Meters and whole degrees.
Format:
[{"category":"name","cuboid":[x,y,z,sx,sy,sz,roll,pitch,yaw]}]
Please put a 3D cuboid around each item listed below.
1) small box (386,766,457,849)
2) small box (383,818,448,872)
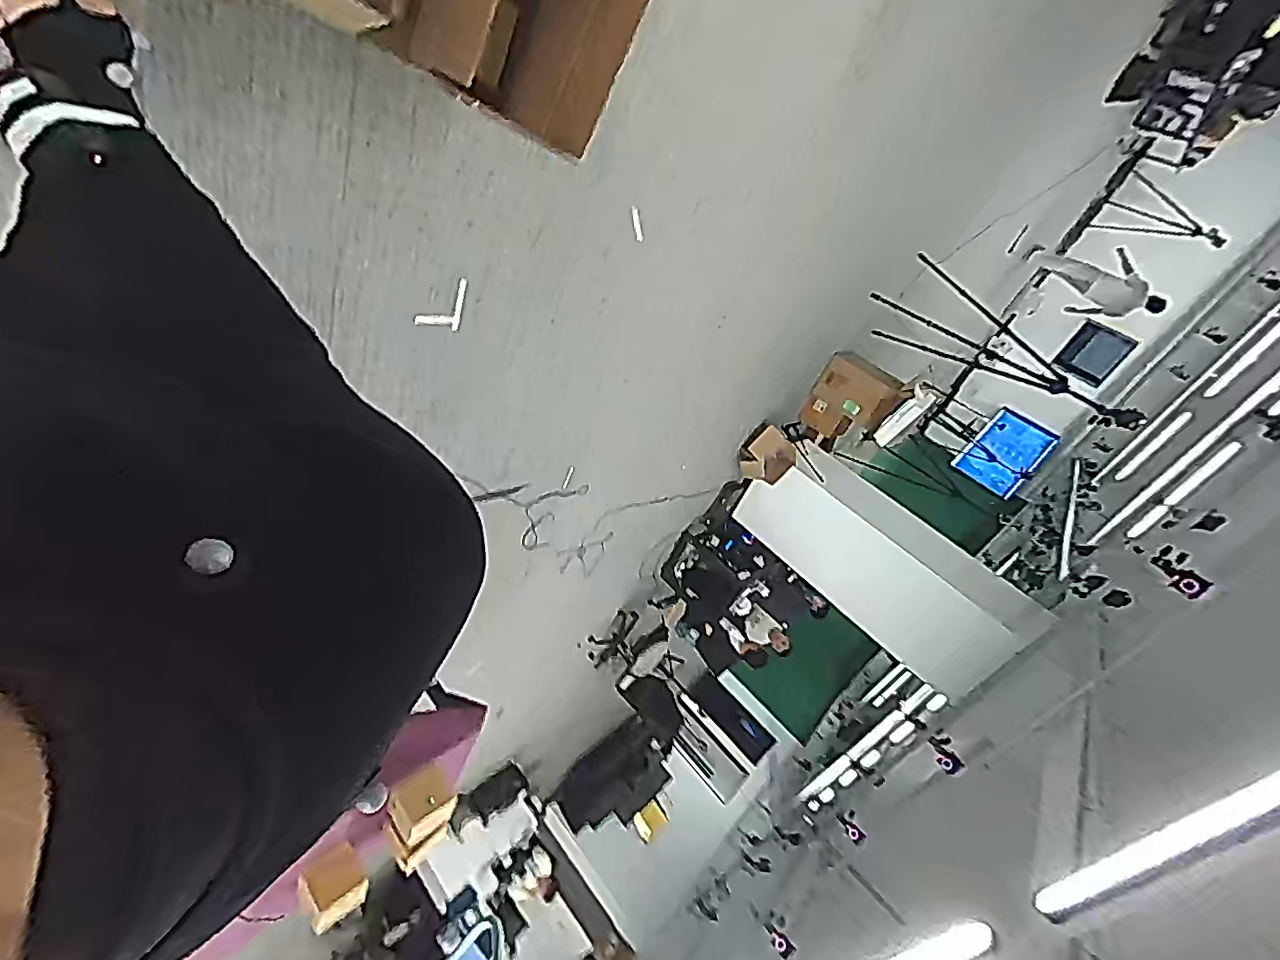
[{"category":"small box","cuboid":[-0.826,1.229,2.043,0.179,0.176,0.168,-17,140,-49]},{"category":"small box","cuboid":[-0.906,1.414,2.176,0.179,0.176,0.168,-19,141,-47]}]
